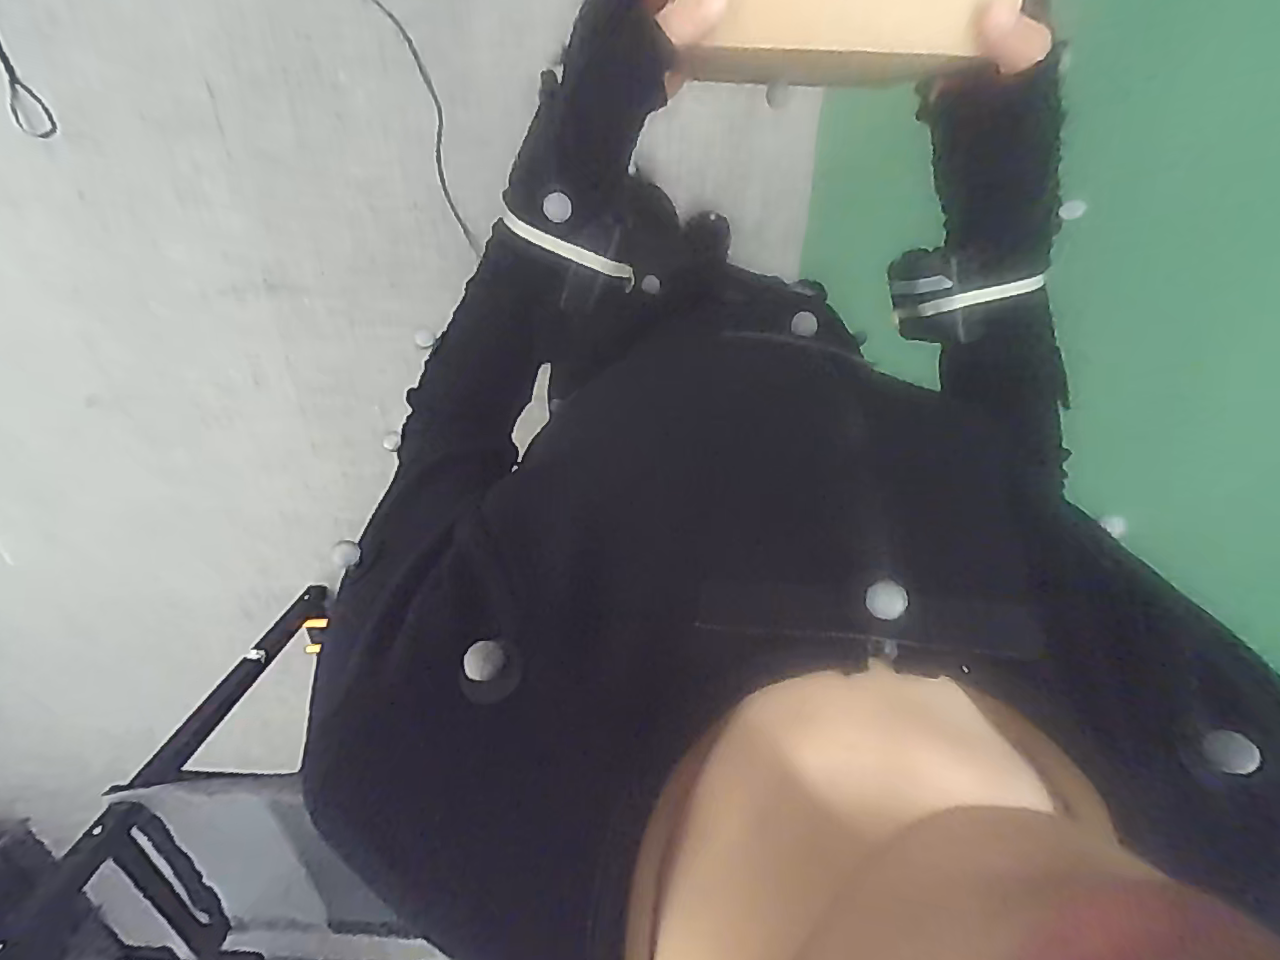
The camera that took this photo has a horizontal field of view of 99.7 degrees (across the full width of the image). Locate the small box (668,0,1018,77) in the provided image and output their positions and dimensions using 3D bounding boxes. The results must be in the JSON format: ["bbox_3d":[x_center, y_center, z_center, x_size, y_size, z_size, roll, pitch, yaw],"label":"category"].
[{"bbox_3d":[0.103,-0.337,0.288,0.168,0.176,0.179,2,121,0],"label":"small box"}]
